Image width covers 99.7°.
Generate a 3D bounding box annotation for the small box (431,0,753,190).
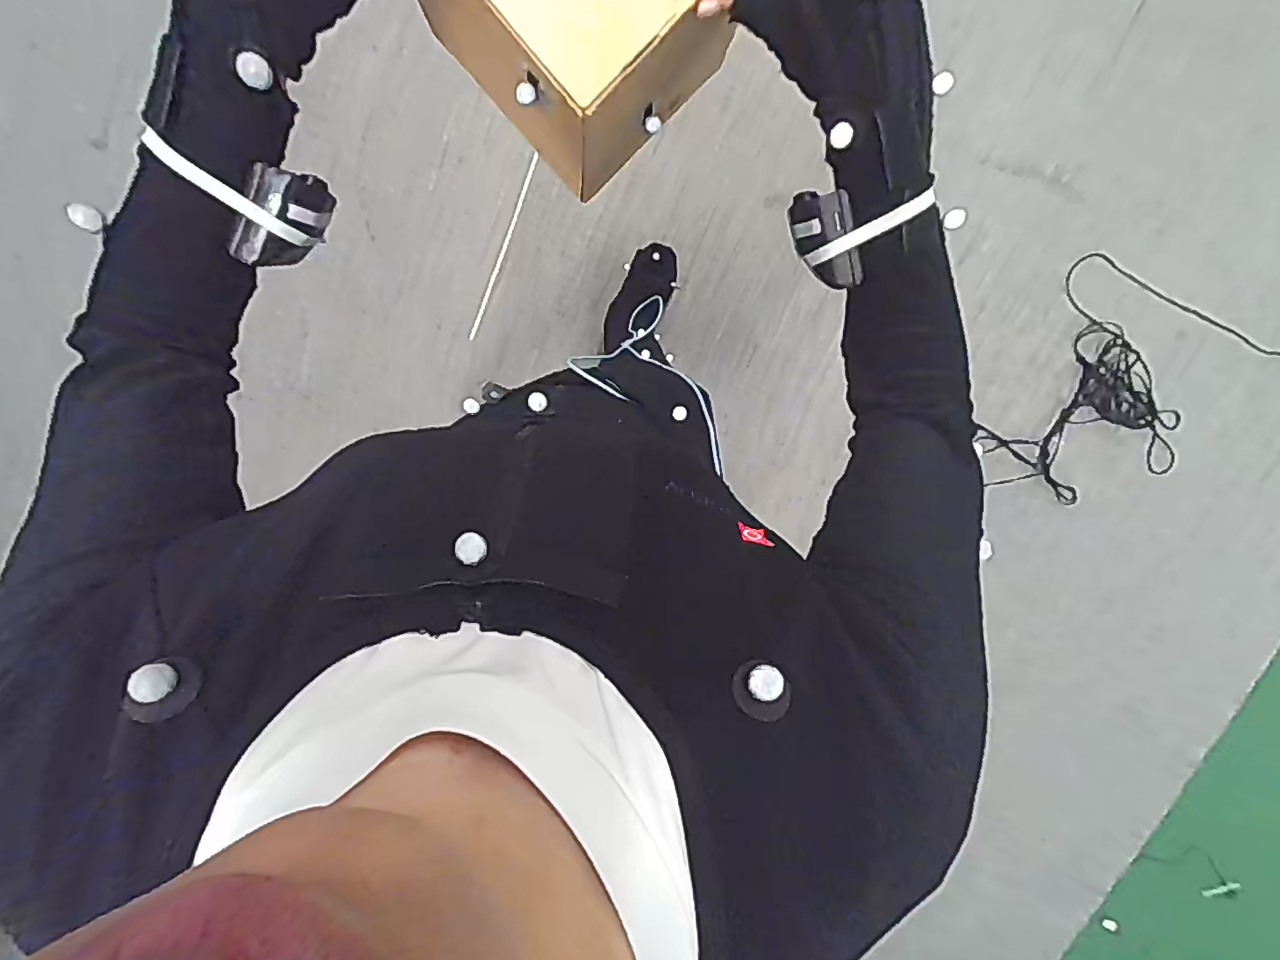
[{"bbox_3d":[-0.039,-0.344,0.373,0.168,0.176,0.179,-43,104,2],"label":"small box"}]
